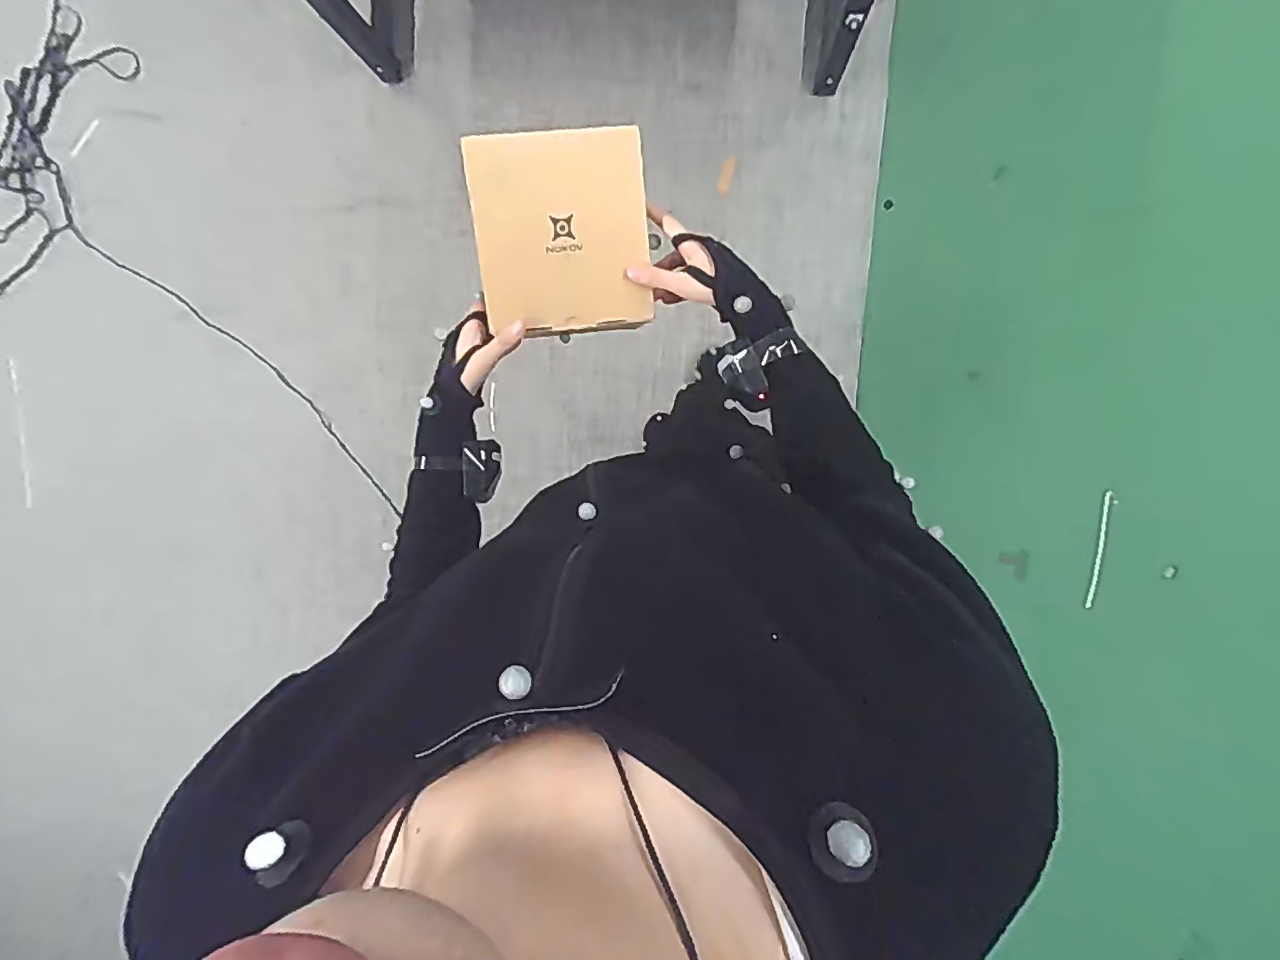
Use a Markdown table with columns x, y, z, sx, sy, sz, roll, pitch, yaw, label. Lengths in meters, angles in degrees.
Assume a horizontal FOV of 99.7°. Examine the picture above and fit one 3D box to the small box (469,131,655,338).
| x | y | z | sx | sy | sz | roll | pitch | yaw | label |
| --- | --- | --- | --- | --- | --- | --- | --- | --- | --- |
| -0.081 | -0.255 | 0.597 | 0.168 | 0.176 | 0.179 | -7 | 105 | -5 | small box |
